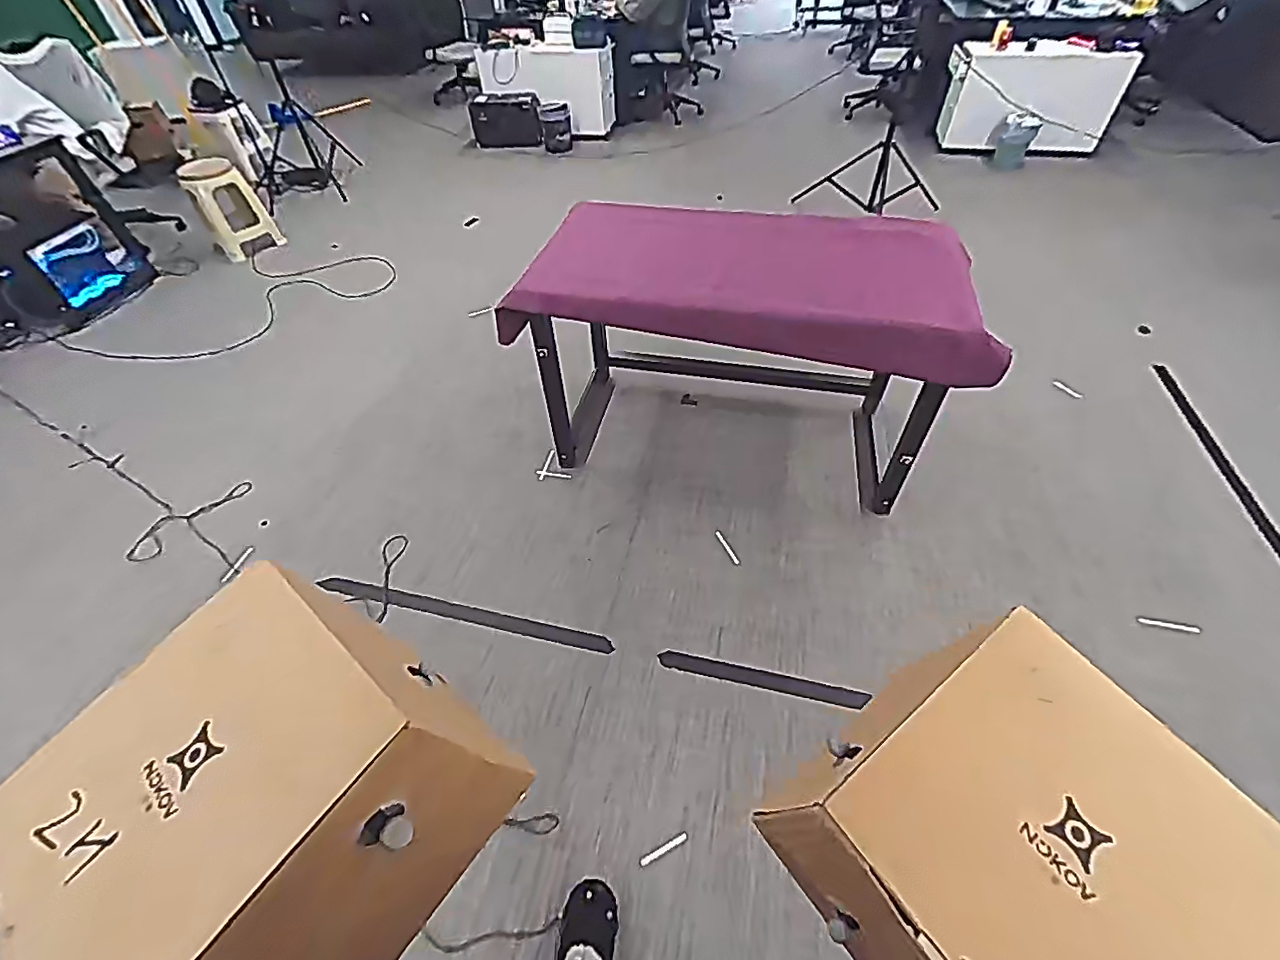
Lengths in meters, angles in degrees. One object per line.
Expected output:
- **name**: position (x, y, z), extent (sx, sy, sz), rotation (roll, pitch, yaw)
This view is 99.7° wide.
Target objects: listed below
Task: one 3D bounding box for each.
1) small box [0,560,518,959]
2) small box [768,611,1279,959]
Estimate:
- **small box**: position (-0.198, 0.188, 0.330), extent (0.168, 0.176, 0.179), rotation (28, 66, 31)
- **small box**: position (0.205, 0.216, 0.330), extent (0.179, 0.176, 0.168), rotation (-32, 64, -20)
